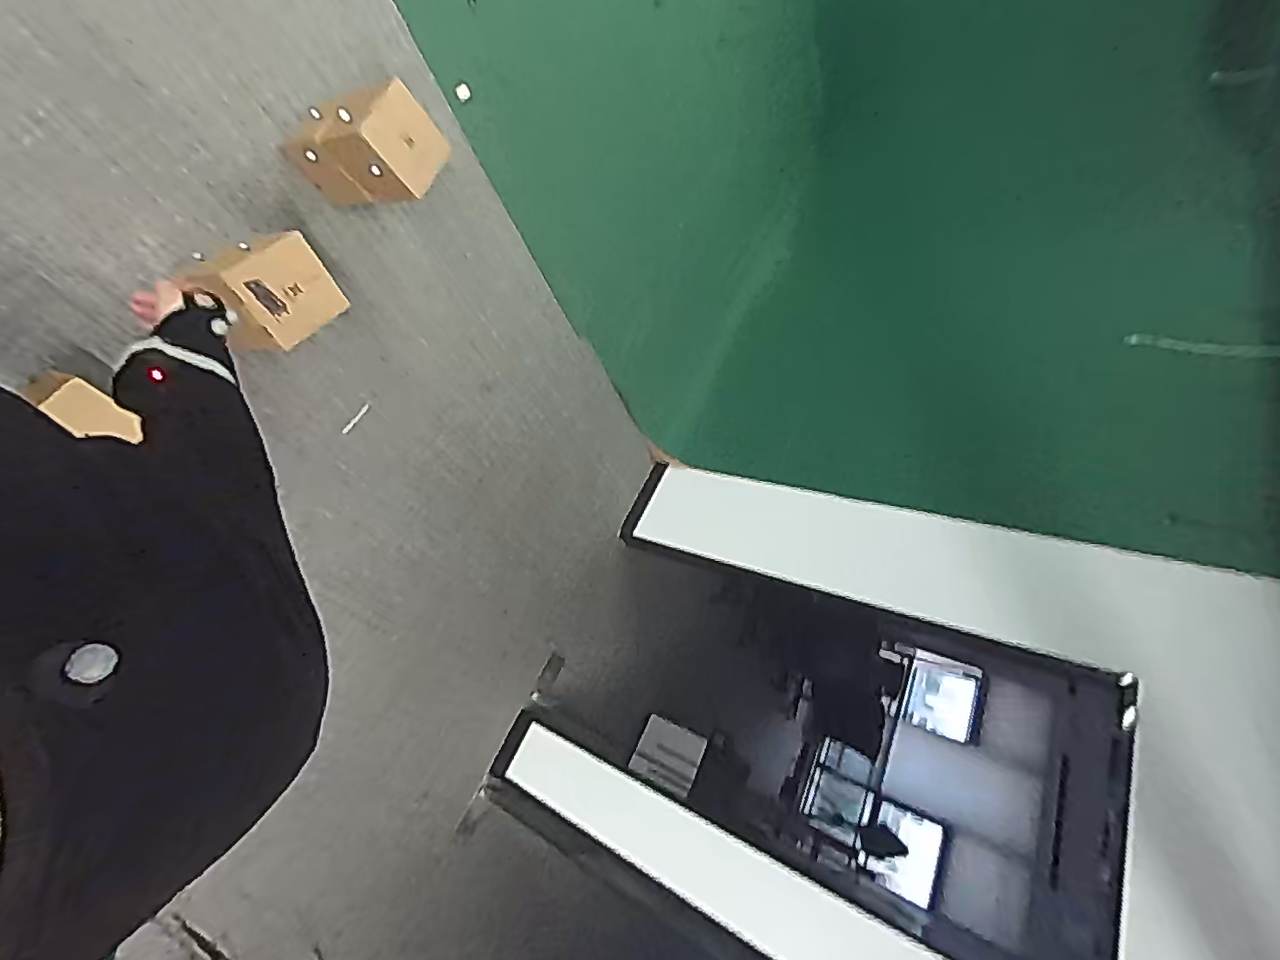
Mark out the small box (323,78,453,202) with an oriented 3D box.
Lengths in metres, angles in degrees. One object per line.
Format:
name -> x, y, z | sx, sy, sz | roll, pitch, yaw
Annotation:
small box -> -0.578, -0.768, 1.240 | 0.179, 0.176, 0.168 | 47, 63, -53

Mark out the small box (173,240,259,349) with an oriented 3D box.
small box -> -0.883, -0.412, 1.201 | 0.179, 0.176, 0.168 | -55, 142, -30

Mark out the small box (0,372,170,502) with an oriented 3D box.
small box -> -1.071, -0.087, 1.030 | 0.179, 0.176, 0.168 | -60, 144, -23

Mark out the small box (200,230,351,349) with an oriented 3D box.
small box -> -0.749, -0.387, 1.107 | 0.179, 0.176, 0.168 | -56, 142, -32
